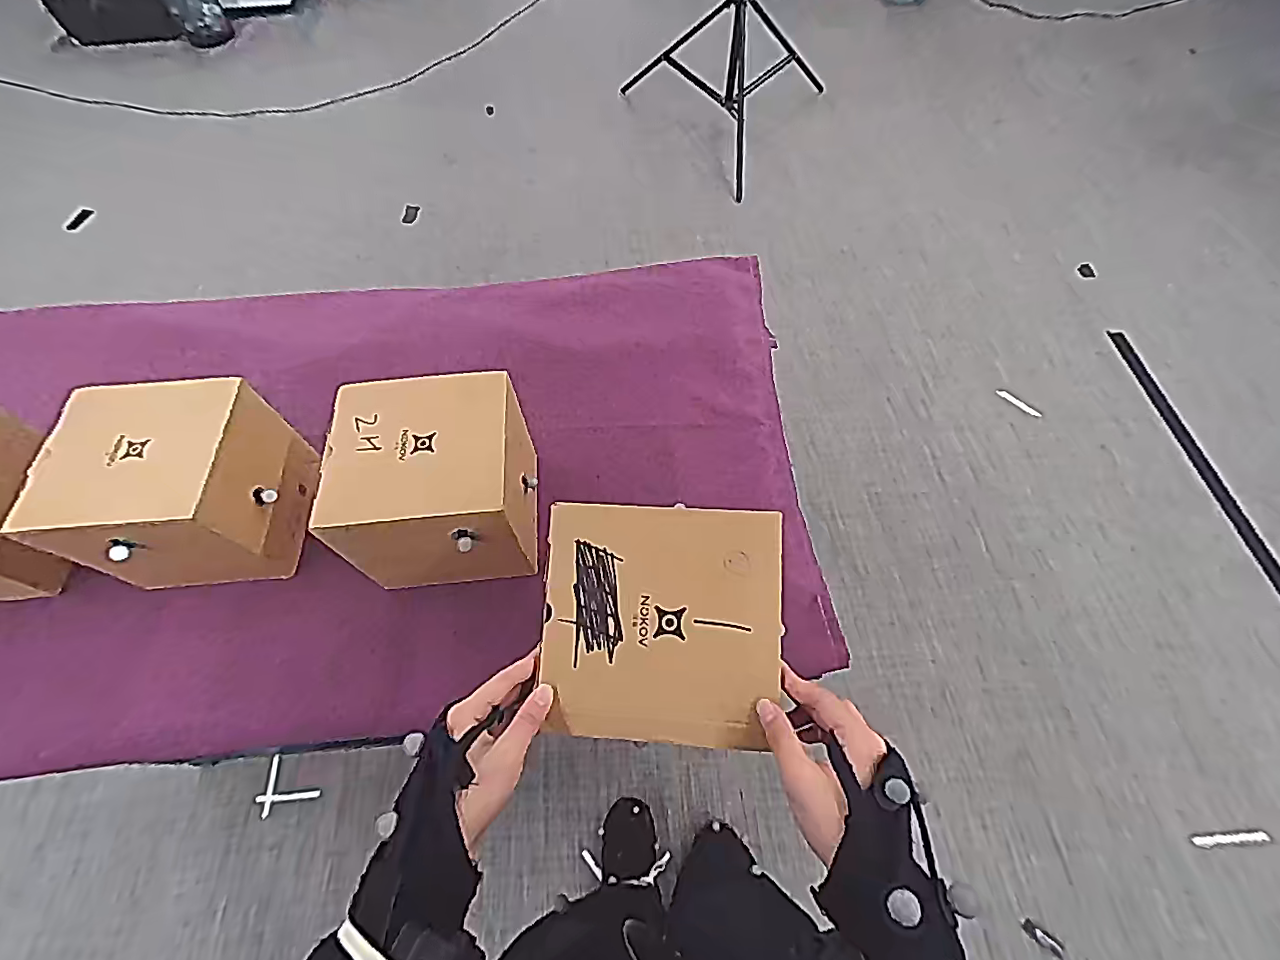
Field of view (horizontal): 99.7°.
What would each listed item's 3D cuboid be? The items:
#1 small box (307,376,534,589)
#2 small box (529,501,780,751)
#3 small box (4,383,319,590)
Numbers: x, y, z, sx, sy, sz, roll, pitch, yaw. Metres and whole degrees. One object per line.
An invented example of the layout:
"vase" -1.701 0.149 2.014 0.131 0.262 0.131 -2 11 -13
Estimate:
"small box" -0.215 0.009 0.588 0.179 0.176 0.168 -6 59 -2
"small box" 0.021 0.116 0.465 0.179 0.176 0.168 2 78 7
"small box" -0.493 0.014 0.596 0.179 0.176 0.168 -5 61 -1
